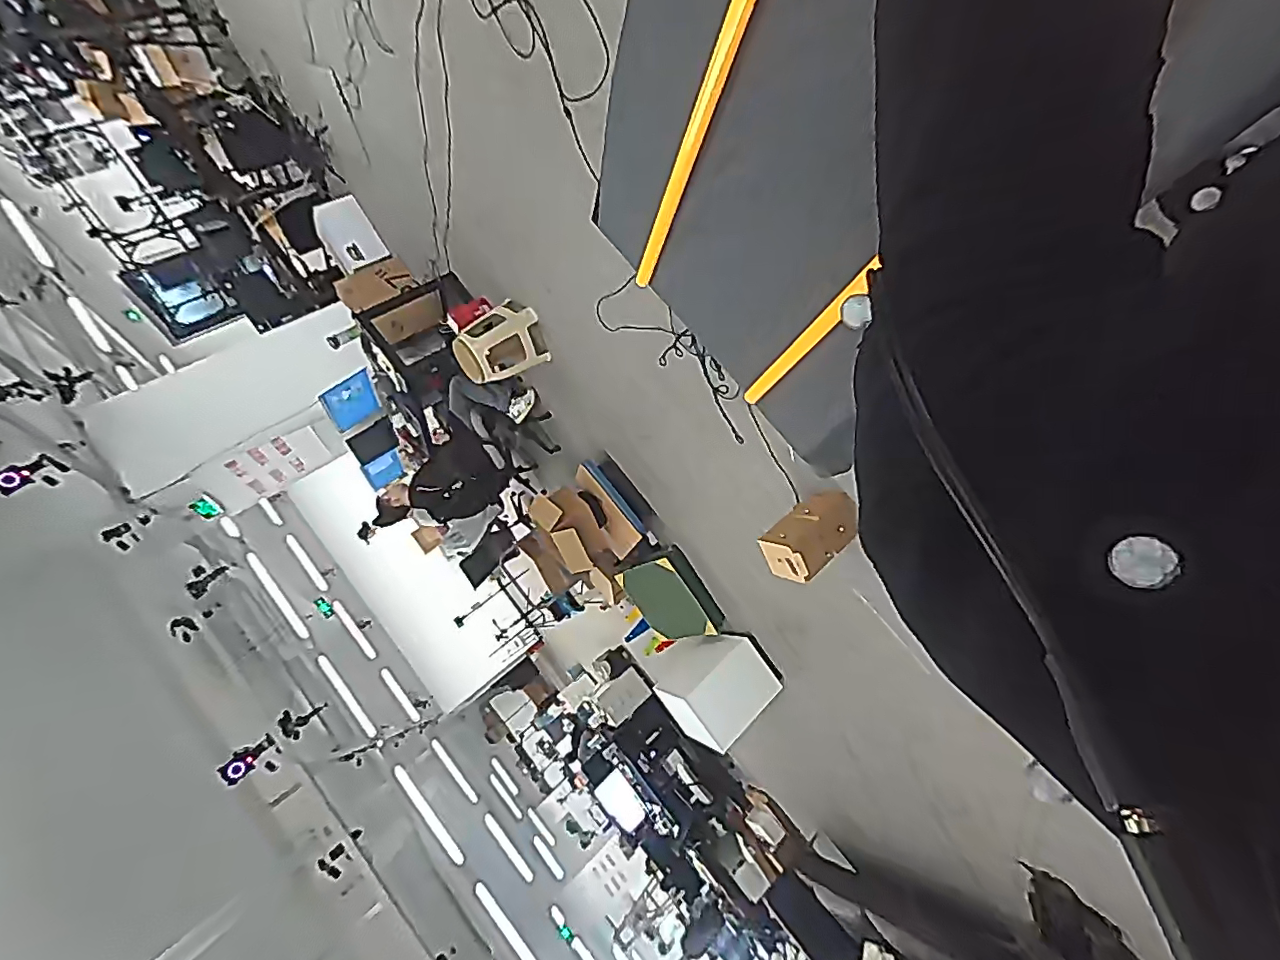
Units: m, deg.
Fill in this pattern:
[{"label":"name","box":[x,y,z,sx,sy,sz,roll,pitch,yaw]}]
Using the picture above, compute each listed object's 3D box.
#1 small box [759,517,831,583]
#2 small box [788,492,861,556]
[{"label":"small box","box":[0.584,0.255,2.012,0.179,0.176,0.168,6,127,61]},{"label":"small box","box":[0.710,0.164,2.068,0.179,0.176,0.168,60,156,-13]}]
